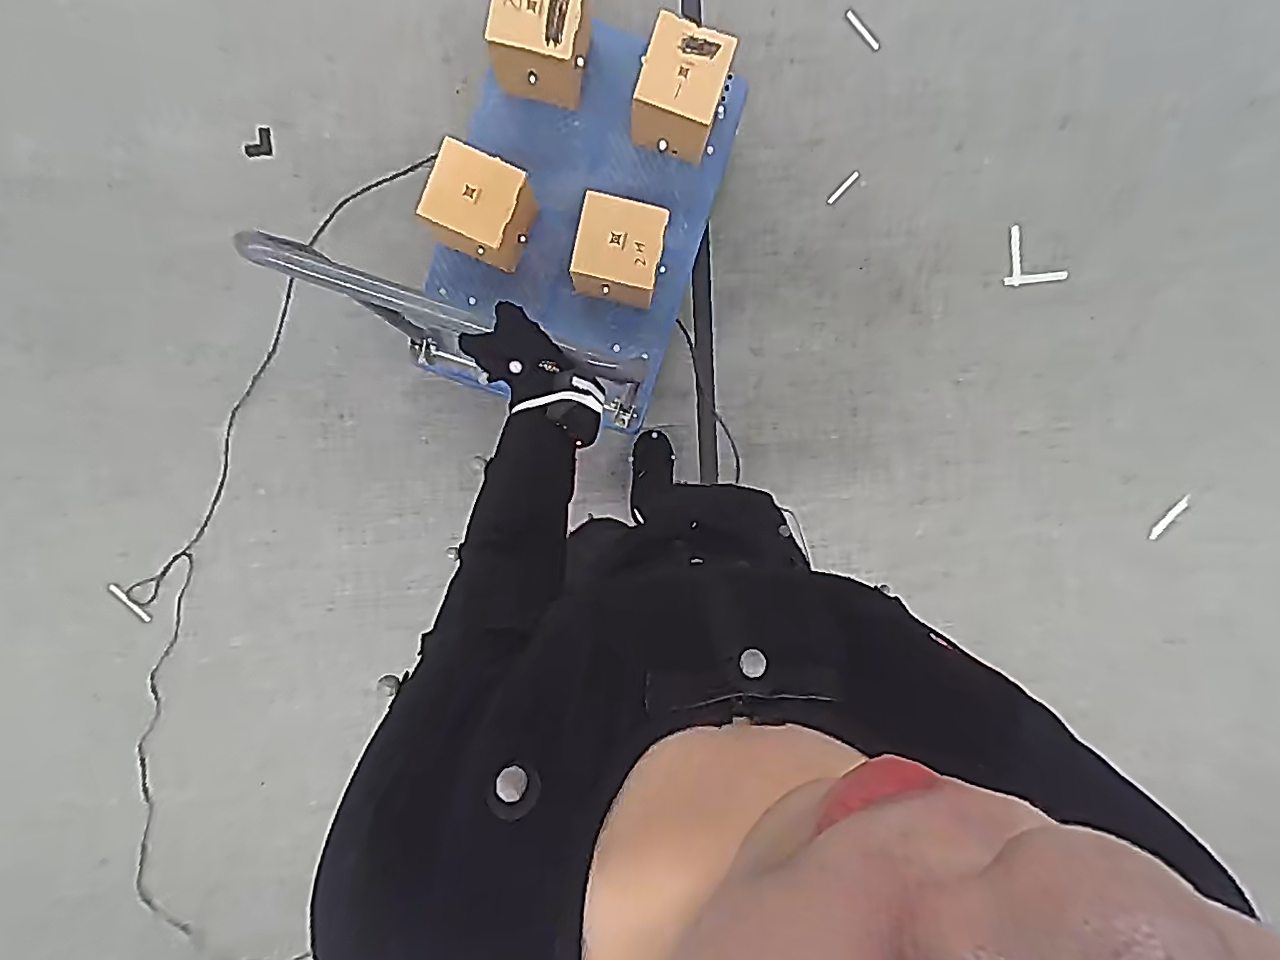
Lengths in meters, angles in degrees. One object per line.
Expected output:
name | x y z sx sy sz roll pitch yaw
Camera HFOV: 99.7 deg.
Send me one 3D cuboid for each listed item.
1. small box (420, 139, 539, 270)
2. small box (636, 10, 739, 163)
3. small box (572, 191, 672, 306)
small box | -0.334 -0.578 1.160 0.179 0.176 0.168 22 93 -5
small box | 0.091 -0.826 1.153 0.168 0.176 0.179 18 95 -3
small box | -0.039 -0.492 1.176 0.179 0.176 0.168 13 94 -2
